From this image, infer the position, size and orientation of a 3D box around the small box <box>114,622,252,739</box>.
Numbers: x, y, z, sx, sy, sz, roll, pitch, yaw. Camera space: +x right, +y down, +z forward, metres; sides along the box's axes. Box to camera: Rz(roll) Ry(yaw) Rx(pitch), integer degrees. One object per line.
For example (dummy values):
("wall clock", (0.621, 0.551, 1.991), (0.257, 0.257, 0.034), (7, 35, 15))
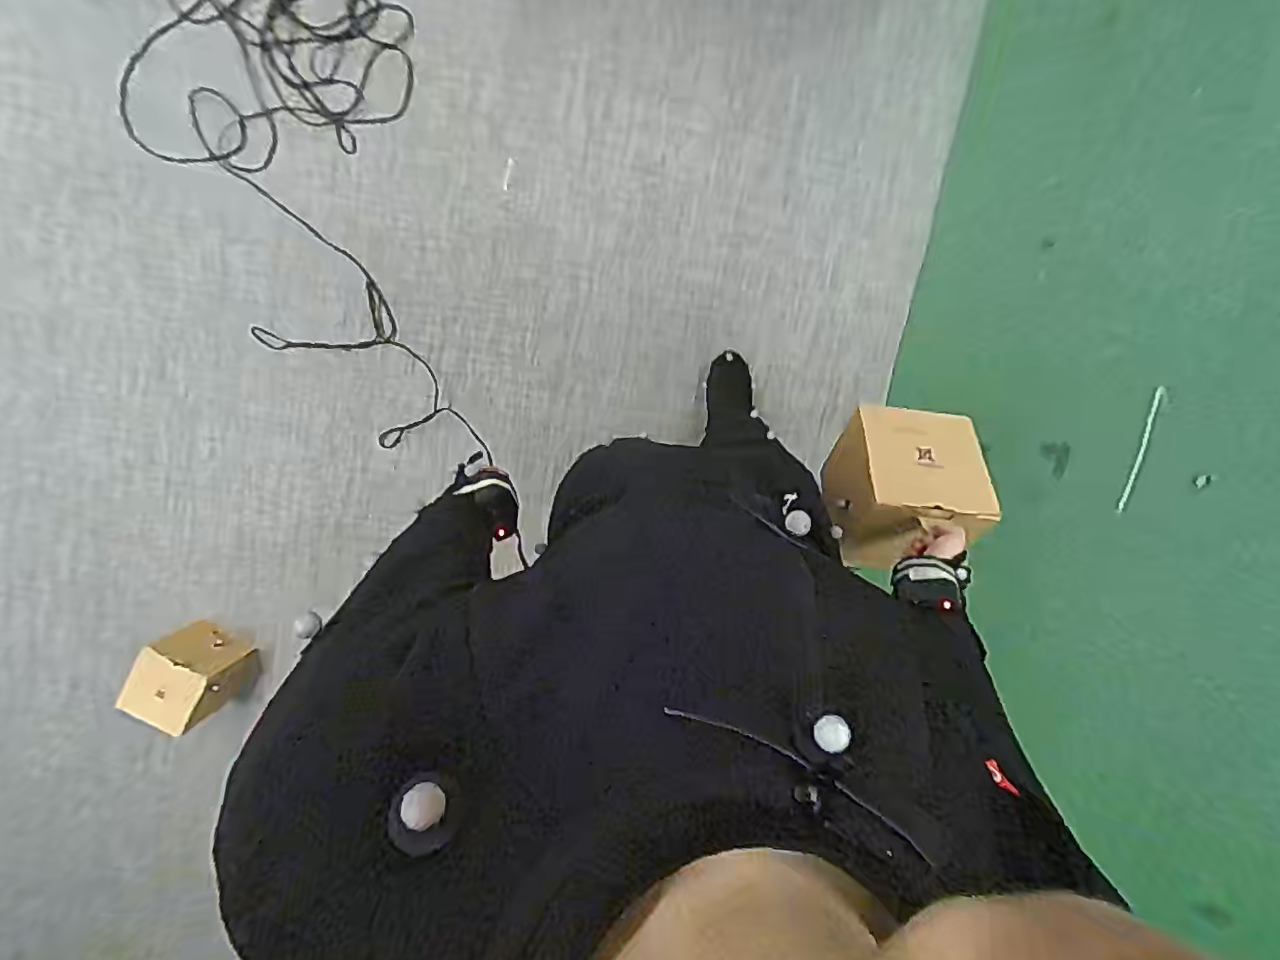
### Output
("small box", (-1.109, 0.483, 1.327), (0.168, 0.176, 0.179), (30, 96, -4))

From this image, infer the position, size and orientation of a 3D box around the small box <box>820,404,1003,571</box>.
("small box", (0.377, 0.015, 0.790), (0.168, 0.179, 0.176), (7, 142, -1))
